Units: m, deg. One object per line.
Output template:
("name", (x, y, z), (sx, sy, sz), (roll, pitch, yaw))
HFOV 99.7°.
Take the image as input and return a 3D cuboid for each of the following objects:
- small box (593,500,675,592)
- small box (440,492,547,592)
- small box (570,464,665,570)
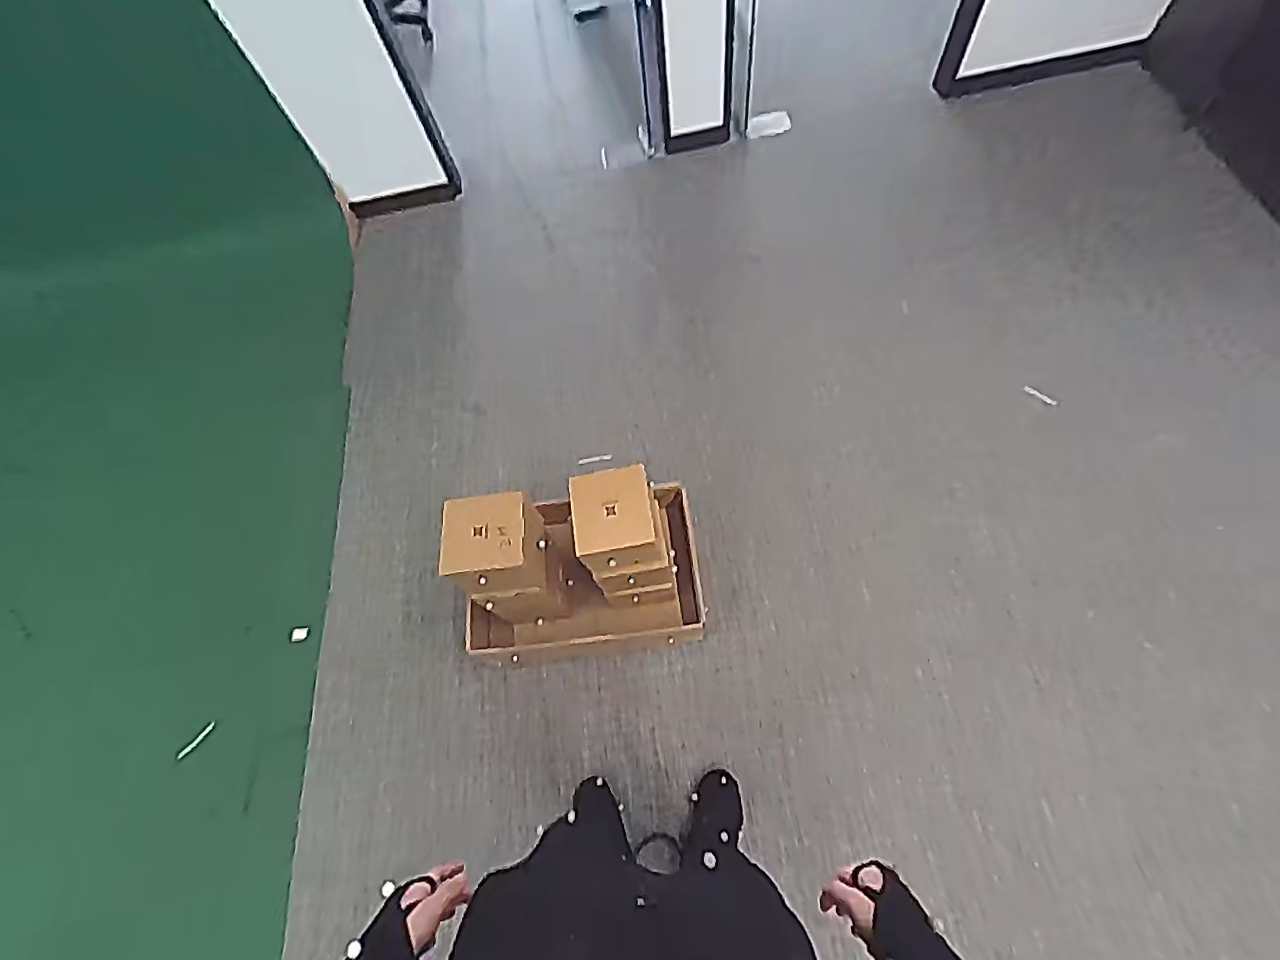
("small box", (-0.017, 0.167, 1.316), (0.179, 0.176, 0.168), (-10, 66, 3))
("small box", (-0.312, 0.141, 1.180), (0.179, 0.176, 0.168), (-6, 64, 3))
("small box", (-0.045, 0.089, 1.176), (0.168, 0.176, 0.179), (-11, 65, 4))
